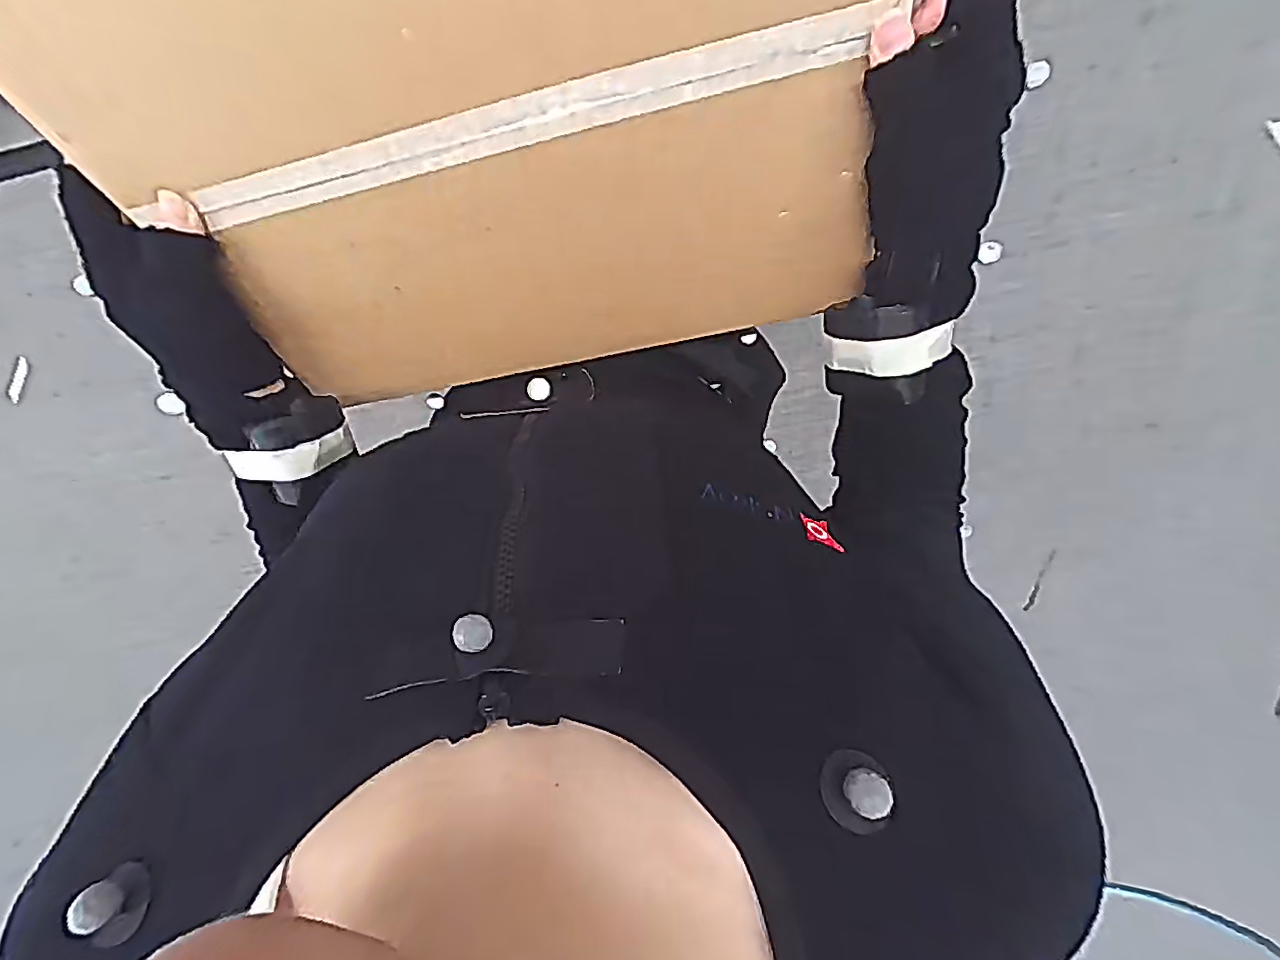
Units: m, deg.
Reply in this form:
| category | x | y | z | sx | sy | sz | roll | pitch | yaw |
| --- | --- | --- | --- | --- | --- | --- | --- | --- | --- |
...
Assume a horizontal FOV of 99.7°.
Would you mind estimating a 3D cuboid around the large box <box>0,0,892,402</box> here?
| category | x | y | z | sx | sy | sz | roll | pitch | yaw |
| --- | --- | --- | --- | --- | --- | --- | --- | --- | --- |
| large box | -0.085 | -0.300 | 0.367 | 0.408 | 0.320 | 0.320 | -9 | 145 | 9 |
